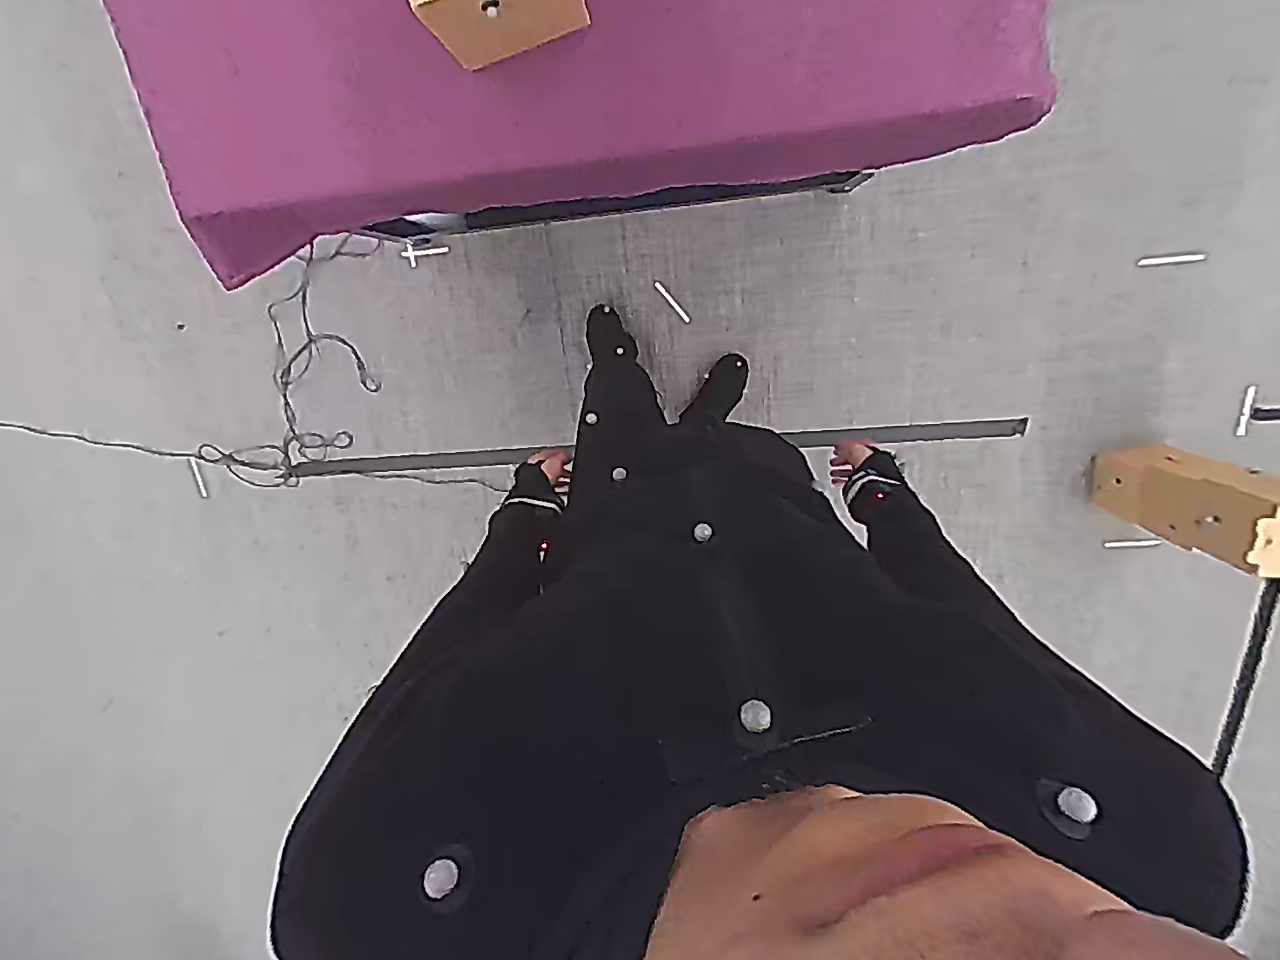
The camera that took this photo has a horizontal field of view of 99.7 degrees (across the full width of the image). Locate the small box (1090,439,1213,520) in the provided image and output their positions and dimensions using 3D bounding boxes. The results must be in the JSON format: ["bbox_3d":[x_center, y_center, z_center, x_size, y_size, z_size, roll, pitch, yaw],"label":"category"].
[{"bbox_3d":[1.382,-0.005,1.476,0.179,0.176,0.168,-8,108,6],"label":"small box"}]

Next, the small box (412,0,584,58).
[{"bbox_3d":[-0.178,-0.621,0.606,0.179,0.176,0.168,-15,107,8],"label":"small box"}]

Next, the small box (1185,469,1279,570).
[{"bbox_3d":[1.349,0.079,1.157,0.179,0.176,0.168,-2,109,5],"label":"small box"}]
